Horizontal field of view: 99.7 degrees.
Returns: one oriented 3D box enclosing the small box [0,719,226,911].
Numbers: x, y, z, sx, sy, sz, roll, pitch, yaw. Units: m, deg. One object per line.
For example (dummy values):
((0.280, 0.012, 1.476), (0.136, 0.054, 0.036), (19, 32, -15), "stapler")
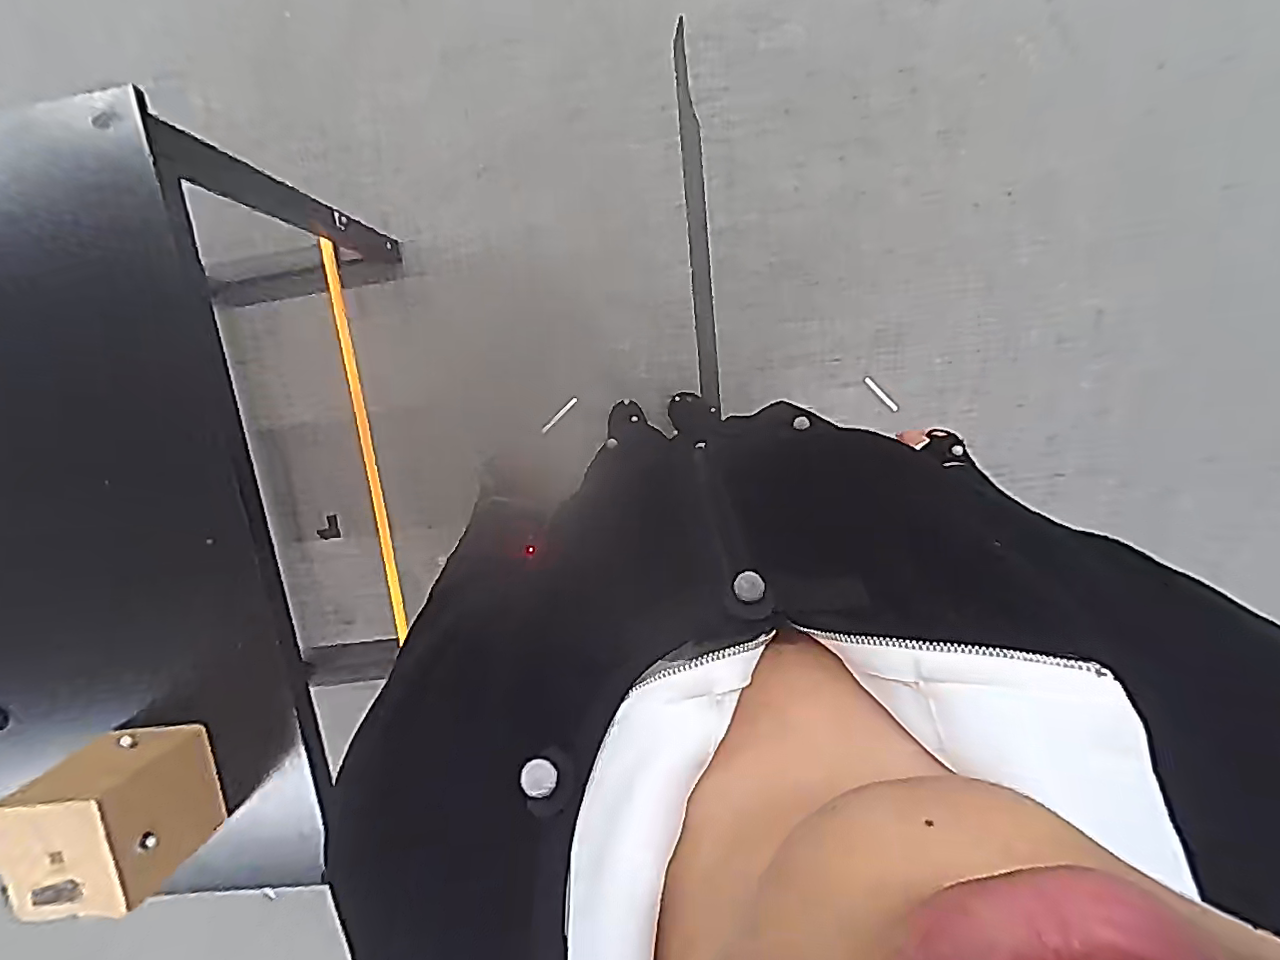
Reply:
((-0.764, 0.486, 0.802), (0.168, 0.176, 0.179), (-6, 99, 4), "small box")
